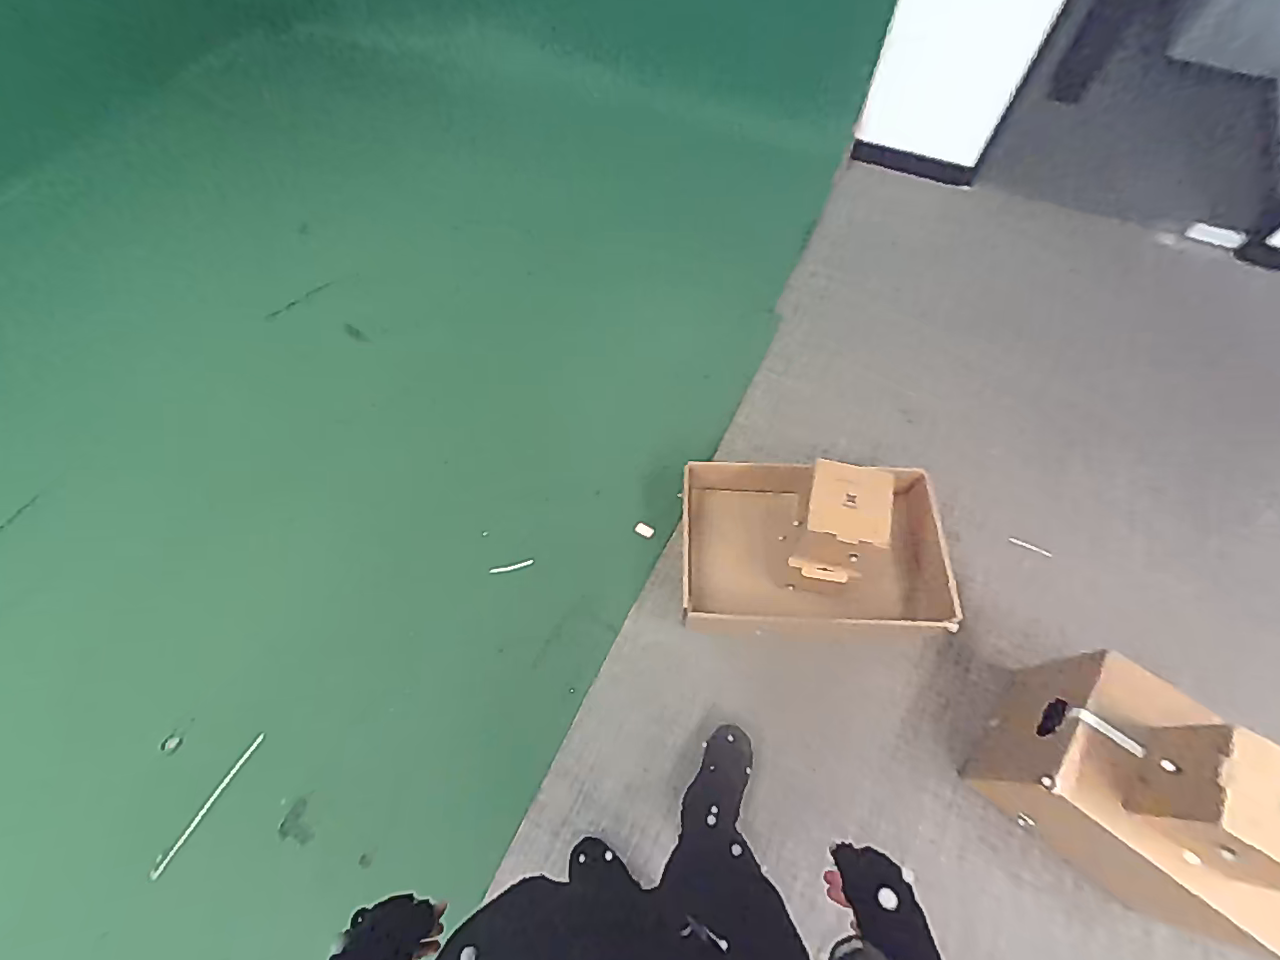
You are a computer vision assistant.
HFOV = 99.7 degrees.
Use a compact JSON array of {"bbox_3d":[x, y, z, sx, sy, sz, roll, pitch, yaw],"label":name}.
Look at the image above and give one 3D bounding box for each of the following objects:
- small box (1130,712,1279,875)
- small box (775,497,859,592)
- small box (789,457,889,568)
[{"bbox_3d":[0.942,0.499,0.859,0.179,0.176,0.168,30,68,16],"label":"small box"},{"bbox_3d":[0.434,0.164,1.337,0.168,0.176,0.179,8,62,7],"label":"small box"},{"bbox_3d":[0.435,0.078,1.199,0.168,0.176,0.179,12,61,7],"label":"small box"}]
